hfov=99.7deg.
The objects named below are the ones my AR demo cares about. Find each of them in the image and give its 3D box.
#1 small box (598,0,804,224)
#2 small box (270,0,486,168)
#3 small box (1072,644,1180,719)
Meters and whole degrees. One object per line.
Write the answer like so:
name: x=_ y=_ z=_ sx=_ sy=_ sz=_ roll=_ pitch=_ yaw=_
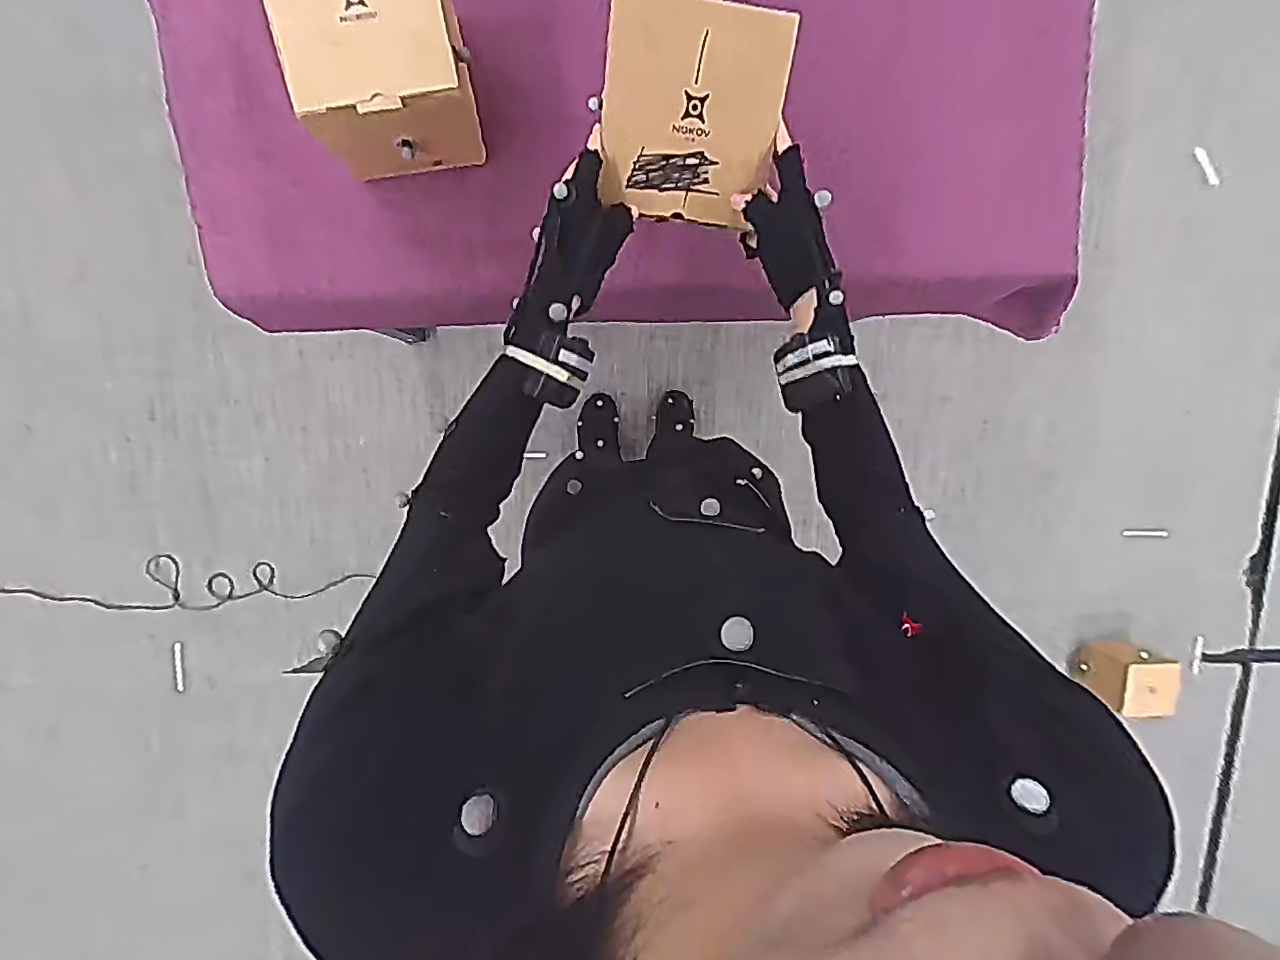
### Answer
small box: x=0.047 y=-0.378 z=0.568 sx=0.168 sy=0.176 sz=0.179 roll=5 pitch=116 yaw=-7
small box: x=-0.280 y=-0.473 z=0.603 sx=0.168 sy=0.176 sz=0.179 roll=-11 pitch=99 yaw=-5
small box: x=1.503 y=0.622 z=1.681 sx=0.179 sy=0.176 sz=0.168 roll=1 pitch=97 yaw=-5
